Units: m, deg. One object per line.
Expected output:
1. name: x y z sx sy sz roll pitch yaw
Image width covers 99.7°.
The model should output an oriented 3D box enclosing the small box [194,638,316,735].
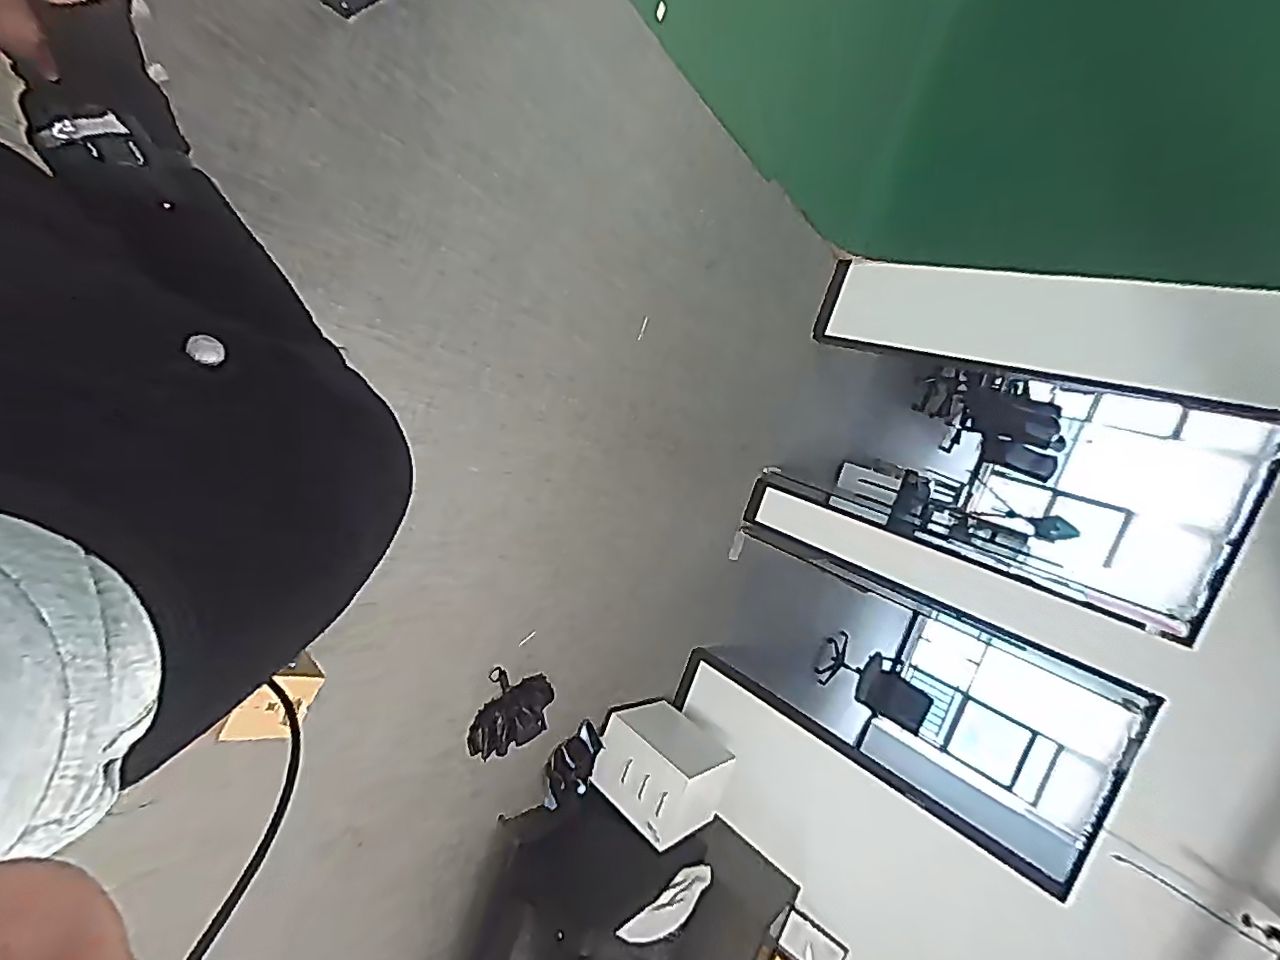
1. small box: -0.964 0.511 1.354 0.179 0.176 0.168 31 83 -53
